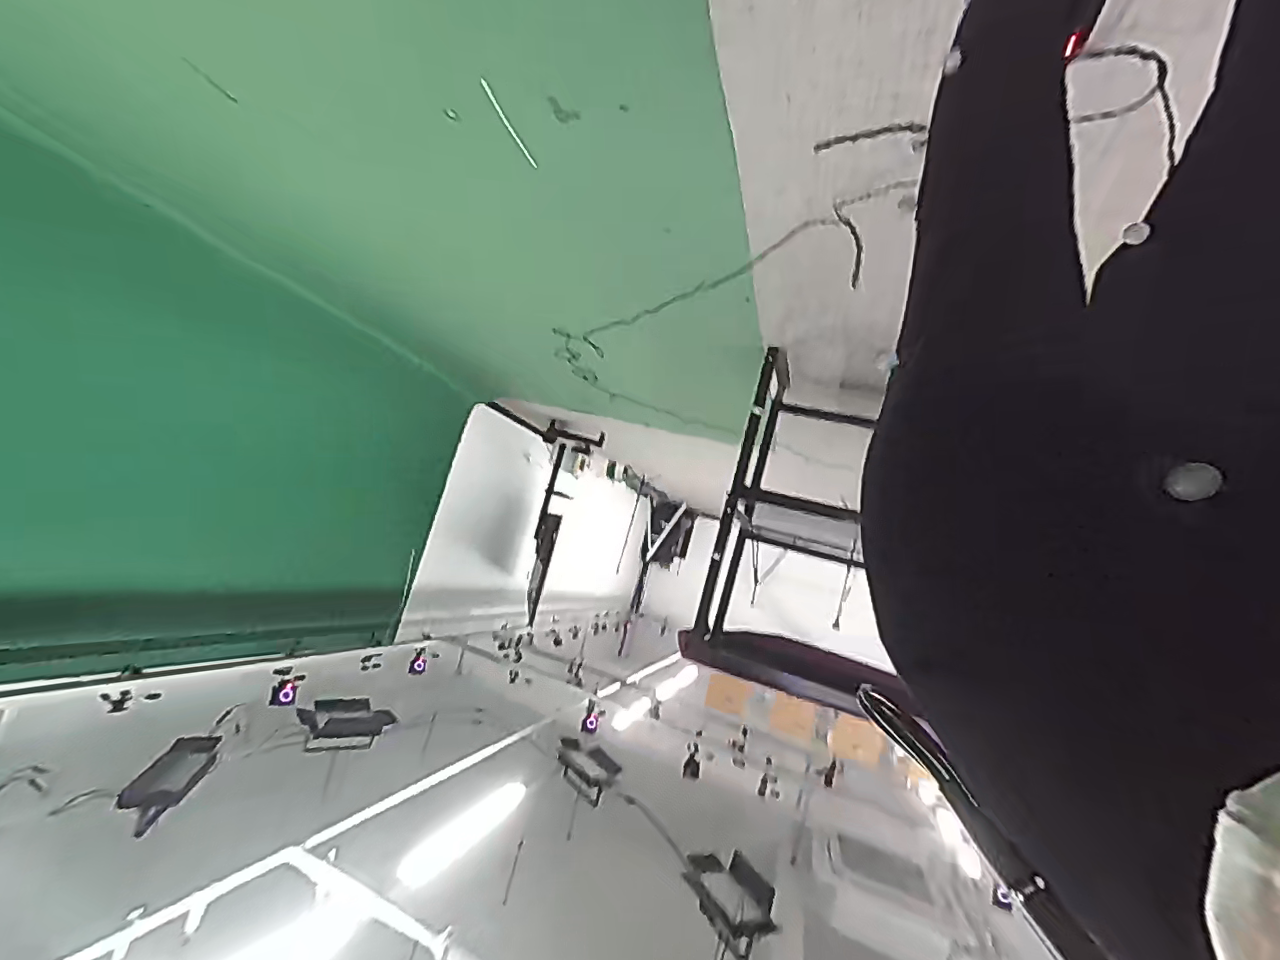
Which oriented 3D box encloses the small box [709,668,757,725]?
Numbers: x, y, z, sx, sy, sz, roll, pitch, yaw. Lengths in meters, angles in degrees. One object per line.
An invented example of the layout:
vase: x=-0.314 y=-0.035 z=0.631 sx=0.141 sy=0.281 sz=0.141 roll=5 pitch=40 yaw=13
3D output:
small box: x=0.412 y=0.935 z=2.353 sx=0.179 sy=0.176 sz=0.168 roll=14 pitch=171 yaw=16

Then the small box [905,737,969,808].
small box: x=1.142 y=1.116 z=2.080 sx=0.168 sy=0.176 sz=0.179 roll=15 pitch=174 yaw=17
